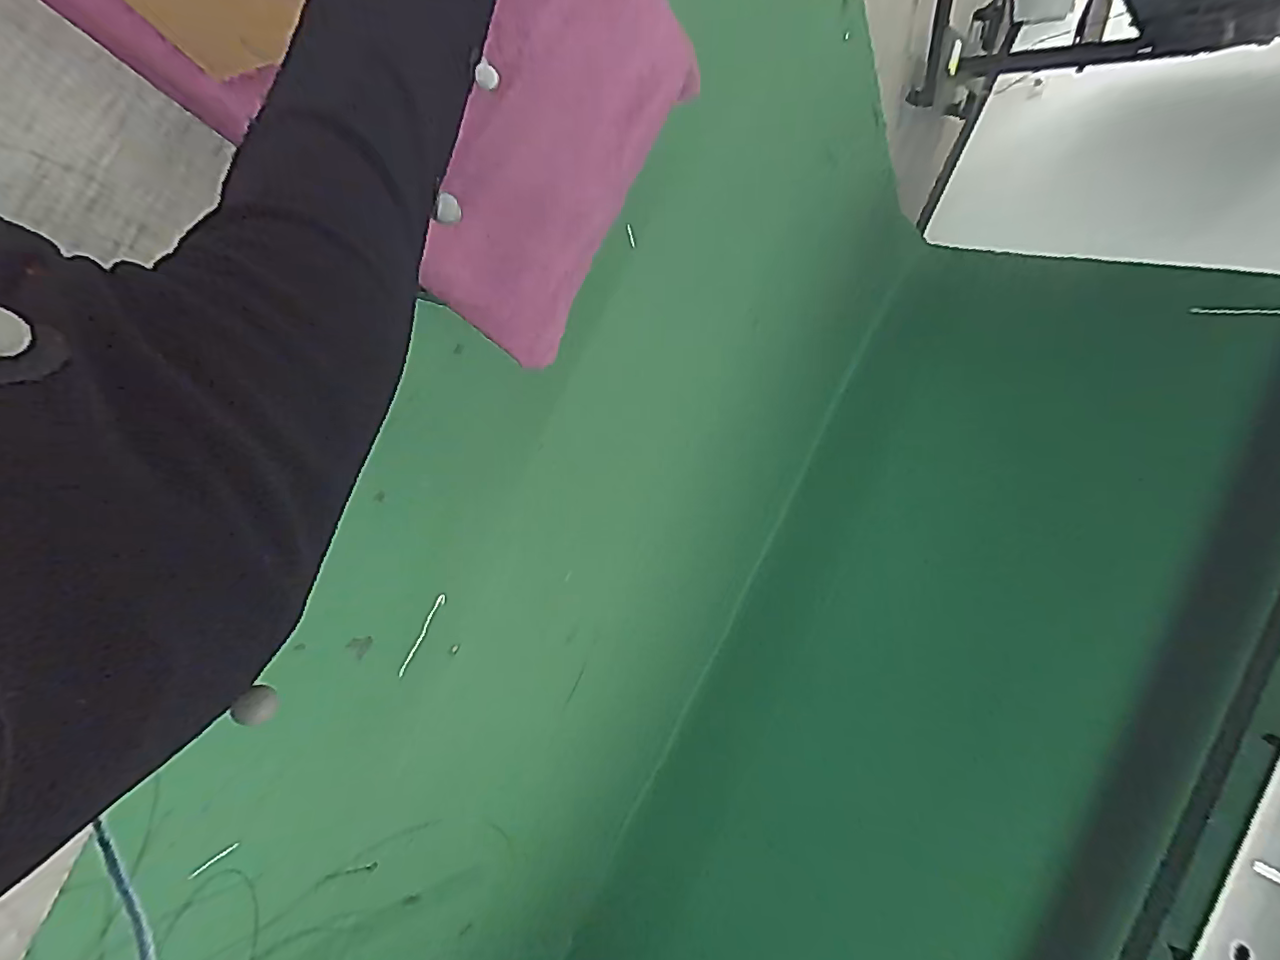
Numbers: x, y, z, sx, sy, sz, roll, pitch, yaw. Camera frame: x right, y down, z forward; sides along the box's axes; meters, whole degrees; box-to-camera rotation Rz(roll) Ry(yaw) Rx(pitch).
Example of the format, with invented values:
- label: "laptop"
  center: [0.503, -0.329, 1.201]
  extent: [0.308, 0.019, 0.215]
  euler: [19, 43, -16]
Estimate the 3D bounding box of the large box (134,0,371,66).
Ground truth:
- label: "large box"
  center: [-0.301, -0.592, 0.365]
  extent: [0.408, 0.320, 0.320]
  euler: [-61, 144, -5]
